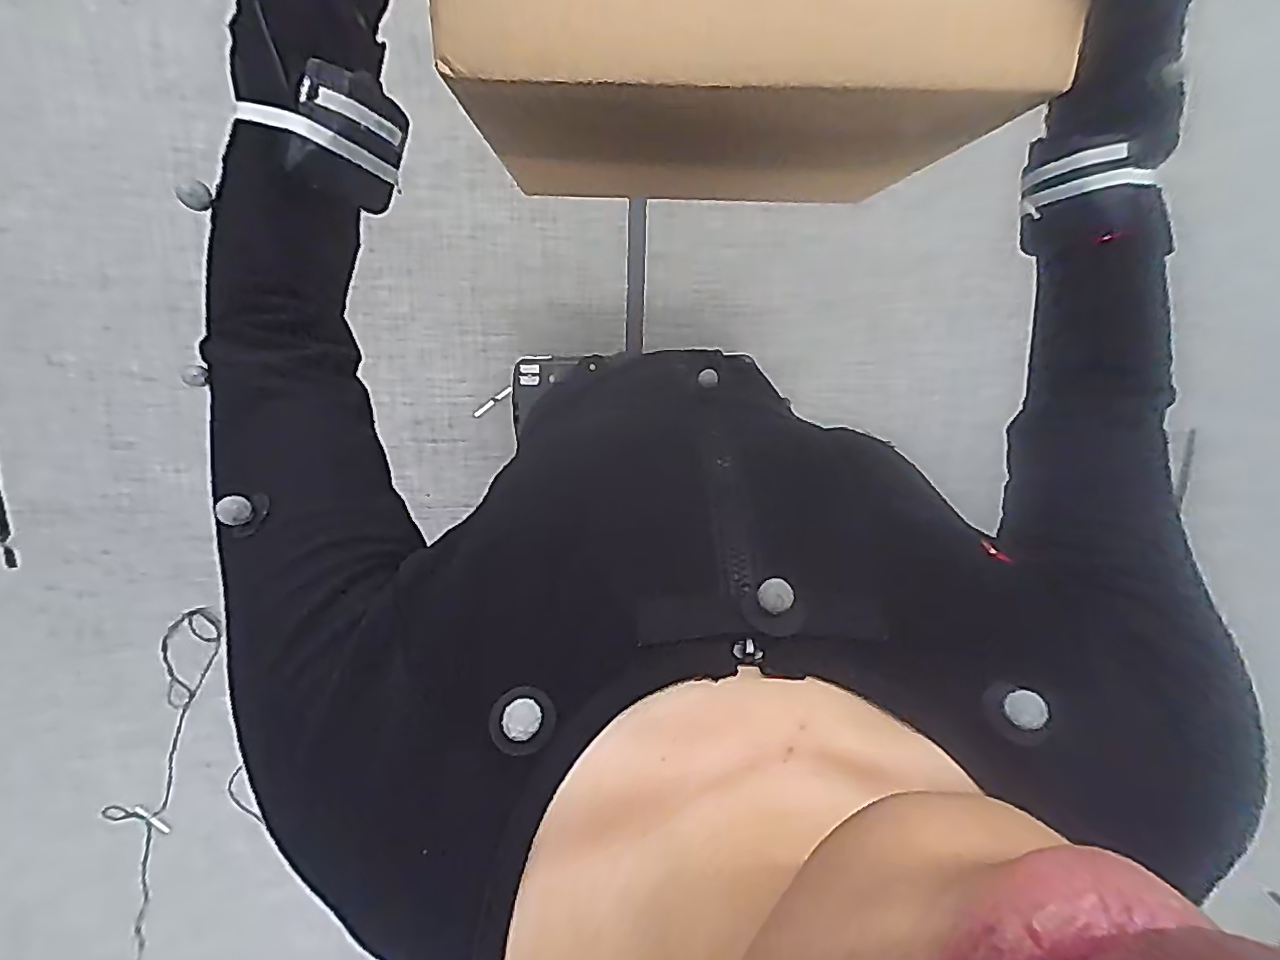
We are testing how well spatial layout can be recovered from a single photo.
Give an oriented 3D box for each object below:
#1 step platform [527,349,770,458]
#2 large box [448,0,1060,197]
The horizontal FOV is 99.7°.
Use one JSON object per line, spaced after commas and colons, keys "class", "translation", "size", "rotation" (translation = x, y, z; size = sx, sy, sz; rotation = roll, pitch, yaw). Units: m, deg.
{"class": "step platform", "translation": [0.023, -0.221, 1.545], "size": [0.684, 0.204, 0.286], "rotation": [-3, 103, -4]}
{"class": "large box", "translation": [0.067, -0.448, 0.460], "size": [0.408, 0.320, 0.320], "rotation": [-1, 106, -3]}
